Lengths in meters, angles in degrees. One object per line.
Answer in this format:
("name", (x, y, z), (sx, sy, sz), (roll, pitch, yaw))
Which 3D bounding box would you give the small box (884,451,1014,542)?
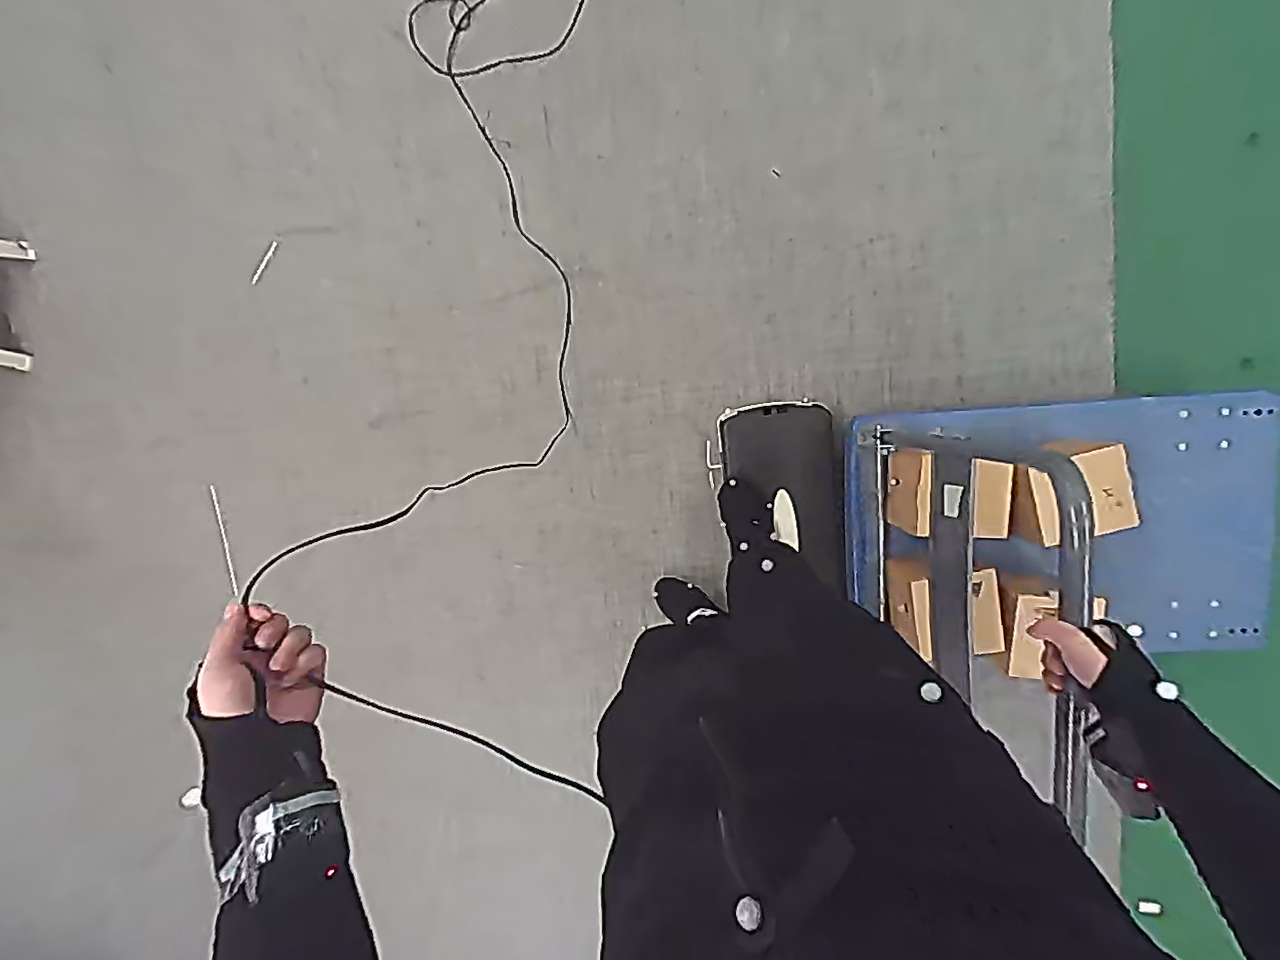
("small box", (0.636, 0.028, 1.131), (0.179, 0.176, 0.168), (1, 97, 6))

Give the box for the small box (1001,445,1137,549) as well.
("small box", (0.850, 0.029, 1.109), (0.179, 0.176, 0.168), (-14, 96, 7))
